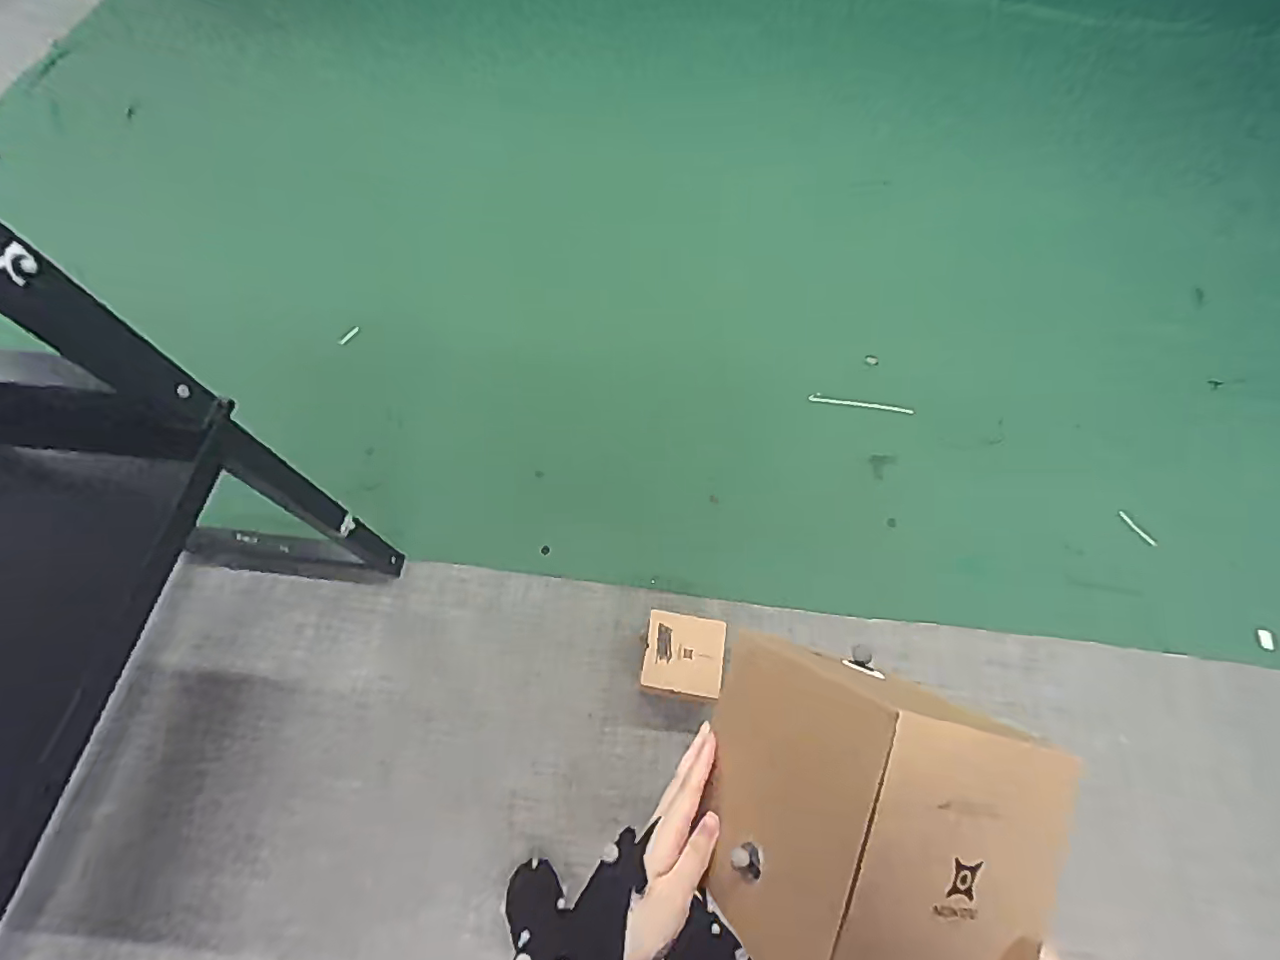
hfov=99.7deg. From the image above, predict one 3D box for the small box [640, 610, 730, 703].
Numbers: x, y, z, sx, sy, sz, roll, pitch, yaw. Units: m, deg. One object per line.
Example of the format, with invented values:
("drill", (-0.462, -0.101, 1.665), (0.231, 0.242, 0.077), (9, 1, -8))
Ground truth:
("small box", (0.099, 0.412, 1.244), (0.179, 0.176, 0.168), (10, 66, 2))
